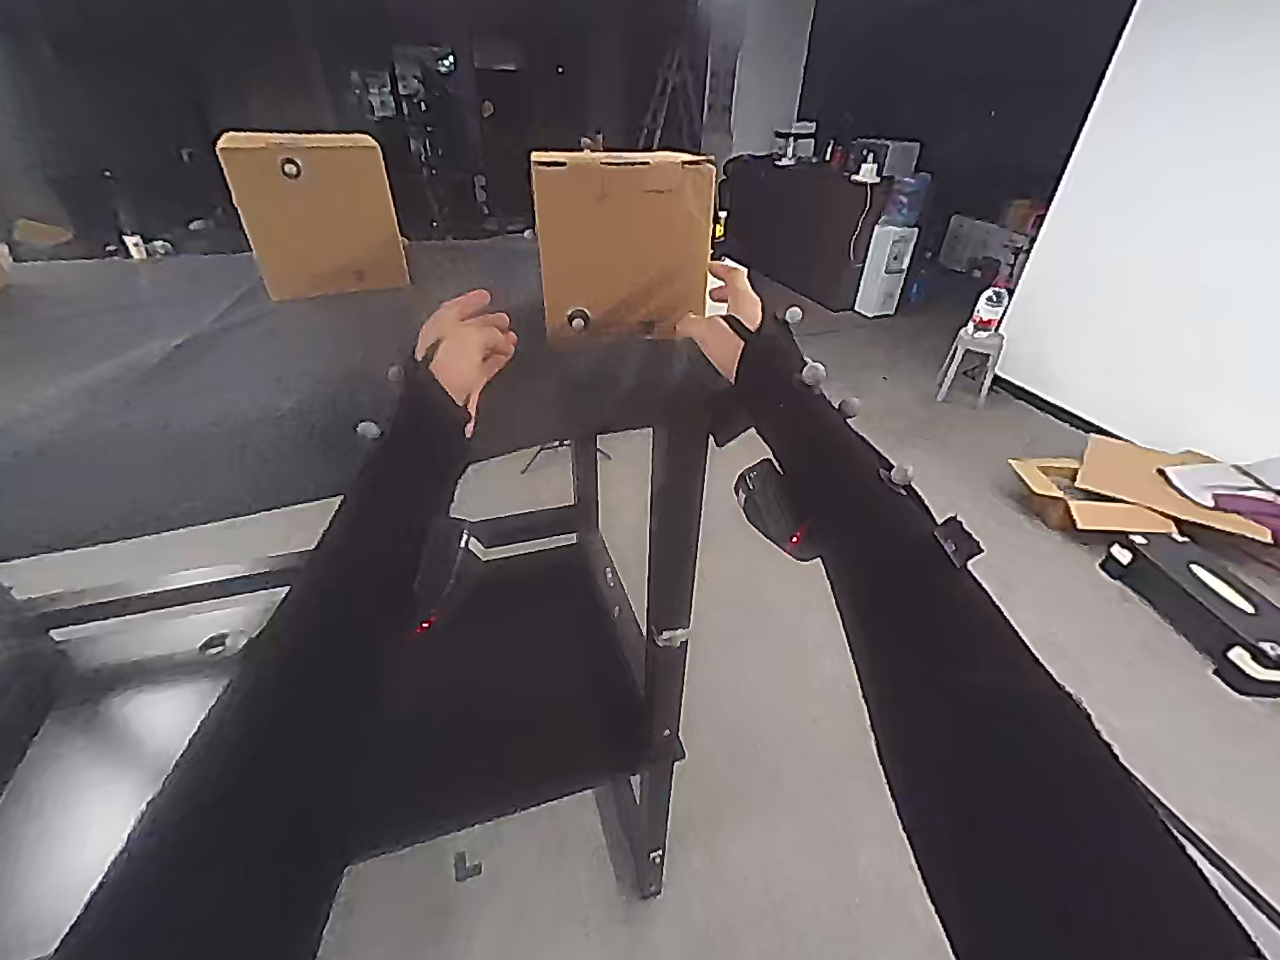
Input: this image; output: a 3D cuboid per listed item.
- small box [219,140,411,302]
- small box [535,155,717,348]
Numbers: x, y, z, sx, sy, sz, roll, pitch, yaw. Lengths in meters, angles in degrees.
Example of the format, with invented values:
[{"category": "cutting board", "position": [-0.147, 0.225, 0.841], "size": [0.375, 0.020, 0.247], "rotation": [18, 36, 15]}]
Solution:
[{"category": "small box", "position": [-0.415, -0.344, 0.711], "size": [0.168, 0.176, 0.179], "rotation": [-16, 39, -23]}, {"category": "small box", "position": [-0.021, -0.247, 0.584], "size": [0.168, 0.176, 0.179], "rotation": [-5, 34, -8]}]
